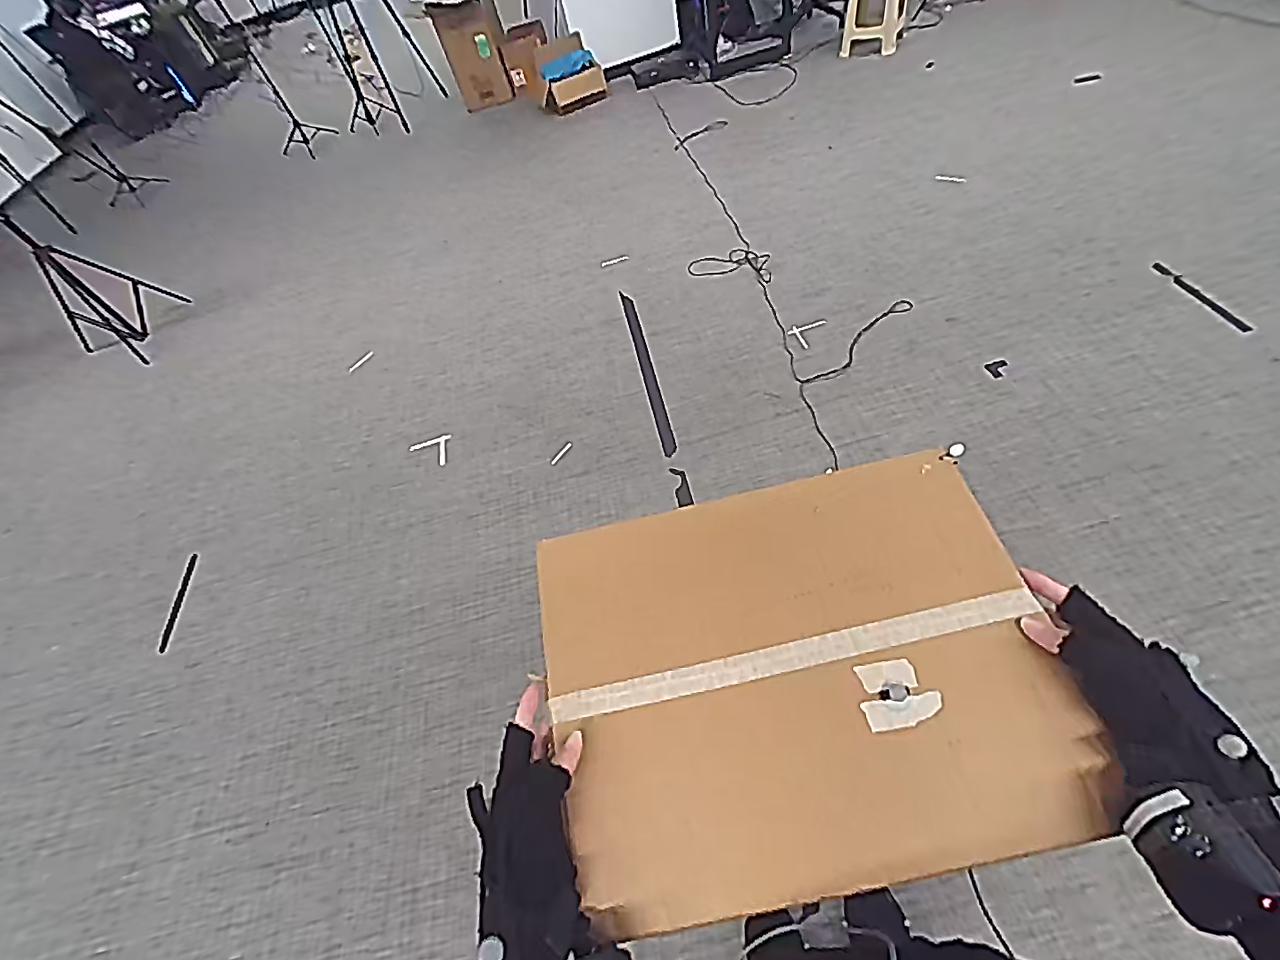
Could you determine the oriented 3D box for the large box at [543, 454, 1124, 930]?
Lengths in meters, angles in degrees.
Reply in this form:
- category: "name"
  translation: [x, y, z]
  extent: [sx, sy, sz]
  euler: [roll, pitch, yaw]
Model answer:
- category: "large box"
  translation: [0.142, 0.222, 0.587]
  extent: [0.408, 0.320, 0.320]
  euler: [-13, 59, 1]
